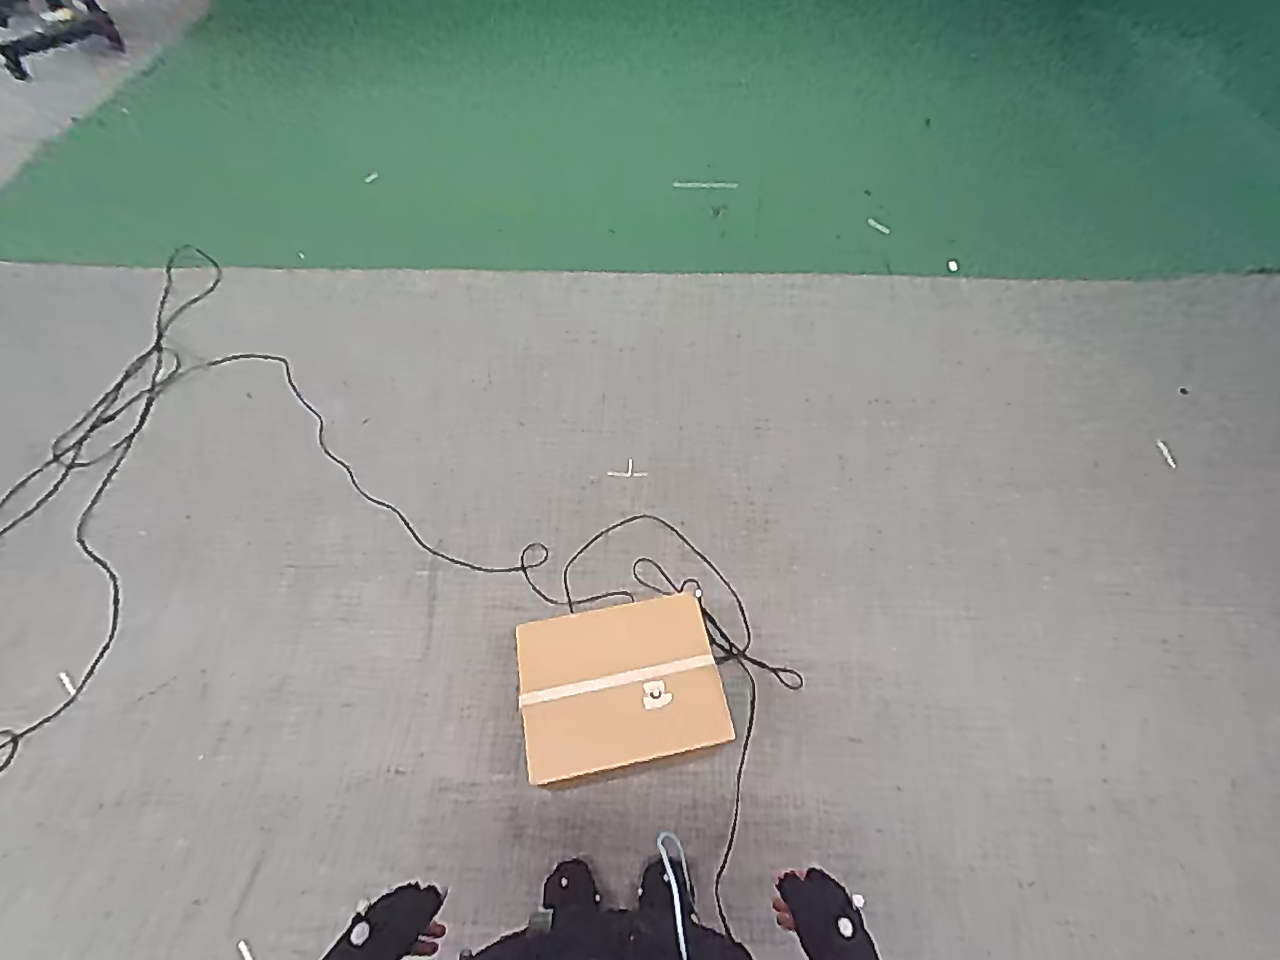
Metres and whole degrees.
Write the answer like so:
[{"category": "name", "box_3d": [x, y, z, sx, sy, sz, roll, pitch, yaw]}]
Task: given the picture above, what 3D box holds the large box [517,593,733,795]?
[{"category": "large box", "box_3d": [-0.045, 0.494, 1.237, 0.408, 0.320, 0.320, -9, 58, -8]}]
